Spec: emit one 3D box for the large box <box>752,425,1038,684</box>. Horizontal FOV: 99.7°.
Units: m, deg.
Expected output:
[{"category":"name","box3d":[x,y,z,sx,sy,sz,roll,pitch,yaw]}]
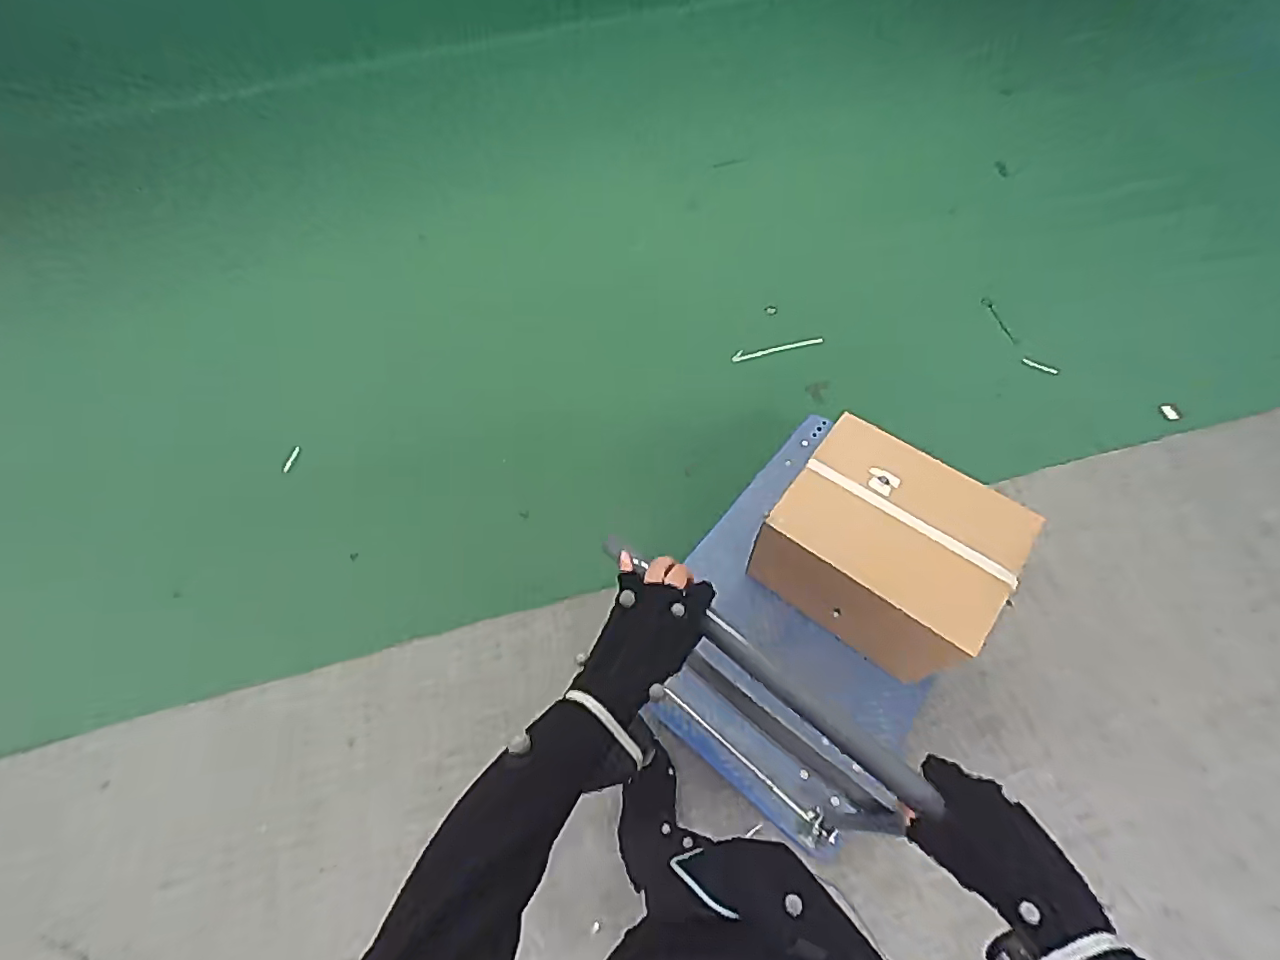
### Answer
[{"category":"large box","box3d":[0.496,0.161,1.133,0.408,0.320,0.320,33,67,21]}]
